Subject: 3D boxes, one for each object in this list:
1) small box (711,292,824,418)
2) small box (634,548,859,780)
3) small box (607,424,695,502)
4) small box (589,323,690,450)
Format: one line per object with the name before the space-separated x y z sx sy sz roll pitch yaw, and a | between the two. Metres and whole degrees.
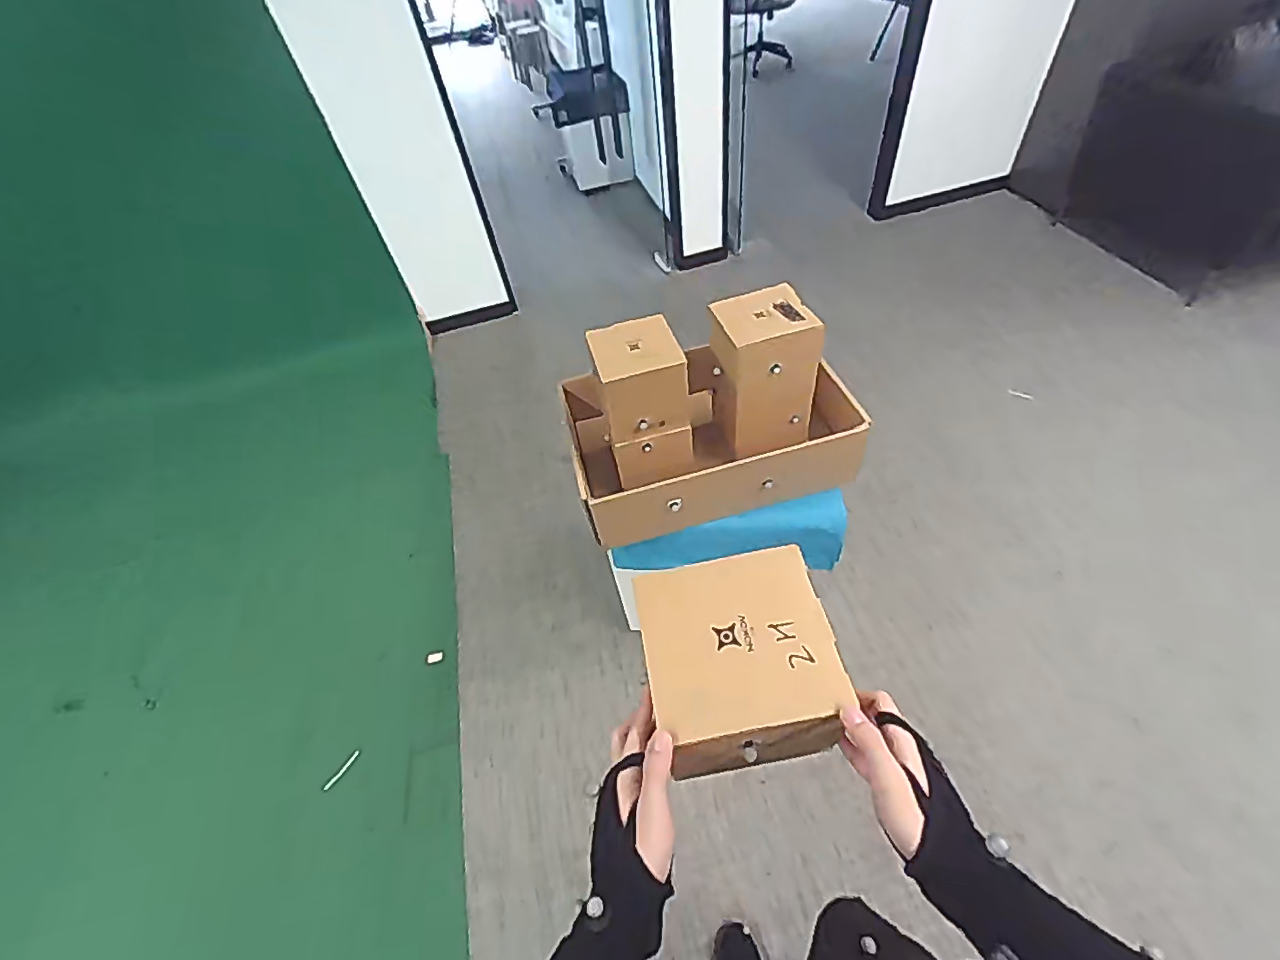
small box | 0.257 -0.257 1.122 0.179 0.176 0.168 -16 48 -3
small box | 0.101 0.197 0.563 0.179 0.176 0.168 -11 52 0
small box | 0.022 -0.079 1.225 0.168 0.176 0.179 -15 47 -4
small box | 0.000 -0.191 1.108 0.168 0.176 0.179 -15 48 -5
